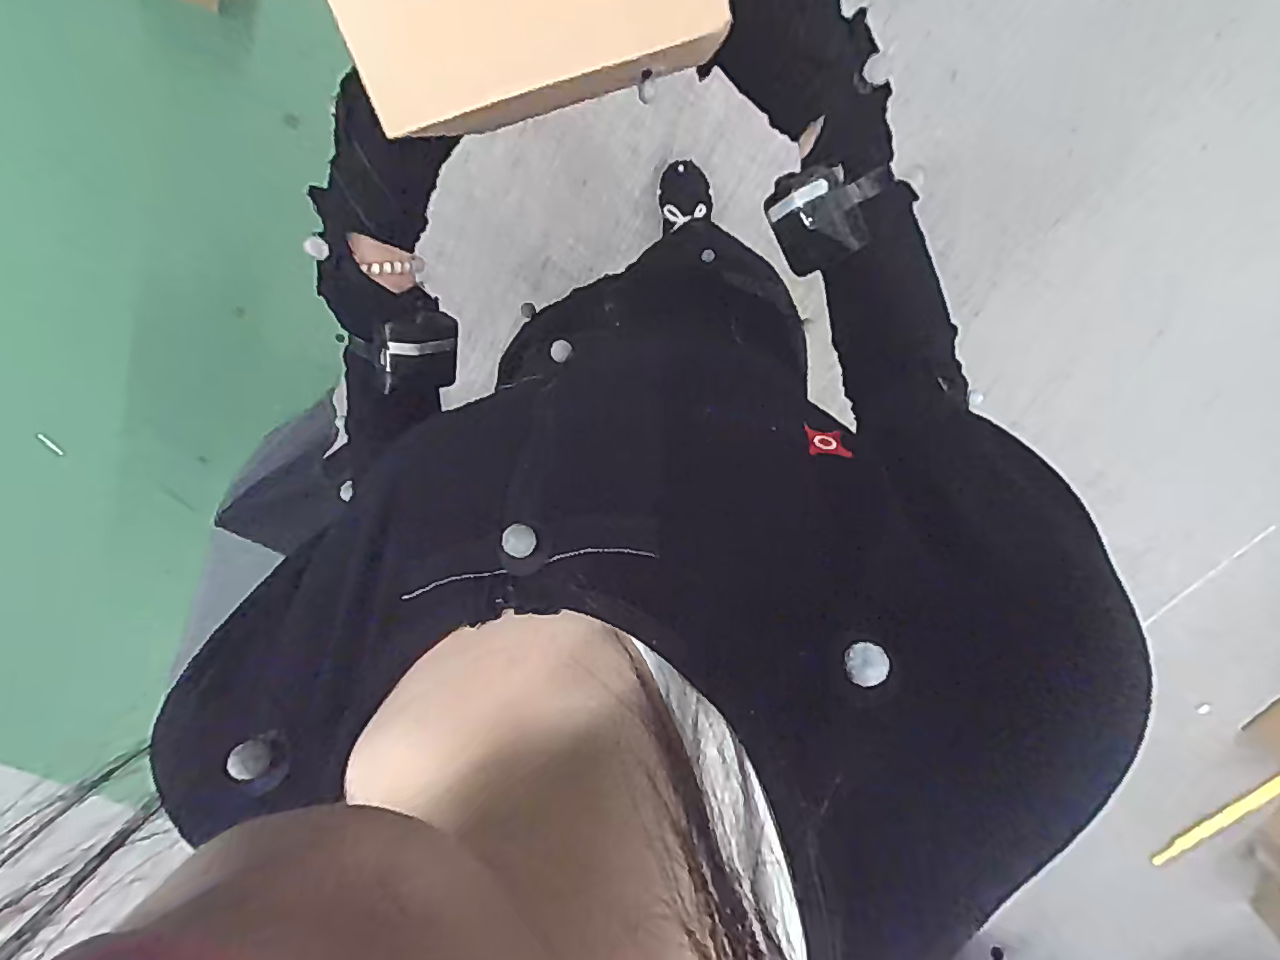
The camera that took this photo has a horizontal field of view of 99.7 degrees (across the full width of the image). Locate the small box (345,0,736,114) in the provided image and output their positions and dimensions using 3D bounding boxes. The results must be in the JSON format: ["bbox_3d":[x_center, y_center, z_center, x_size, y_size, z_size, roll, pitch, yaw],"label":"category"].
[{"bbox_3d":[-0.057,-0.307,0.277,0.179,0.176,0.168,-11,121,9],"label":"small box"}]
